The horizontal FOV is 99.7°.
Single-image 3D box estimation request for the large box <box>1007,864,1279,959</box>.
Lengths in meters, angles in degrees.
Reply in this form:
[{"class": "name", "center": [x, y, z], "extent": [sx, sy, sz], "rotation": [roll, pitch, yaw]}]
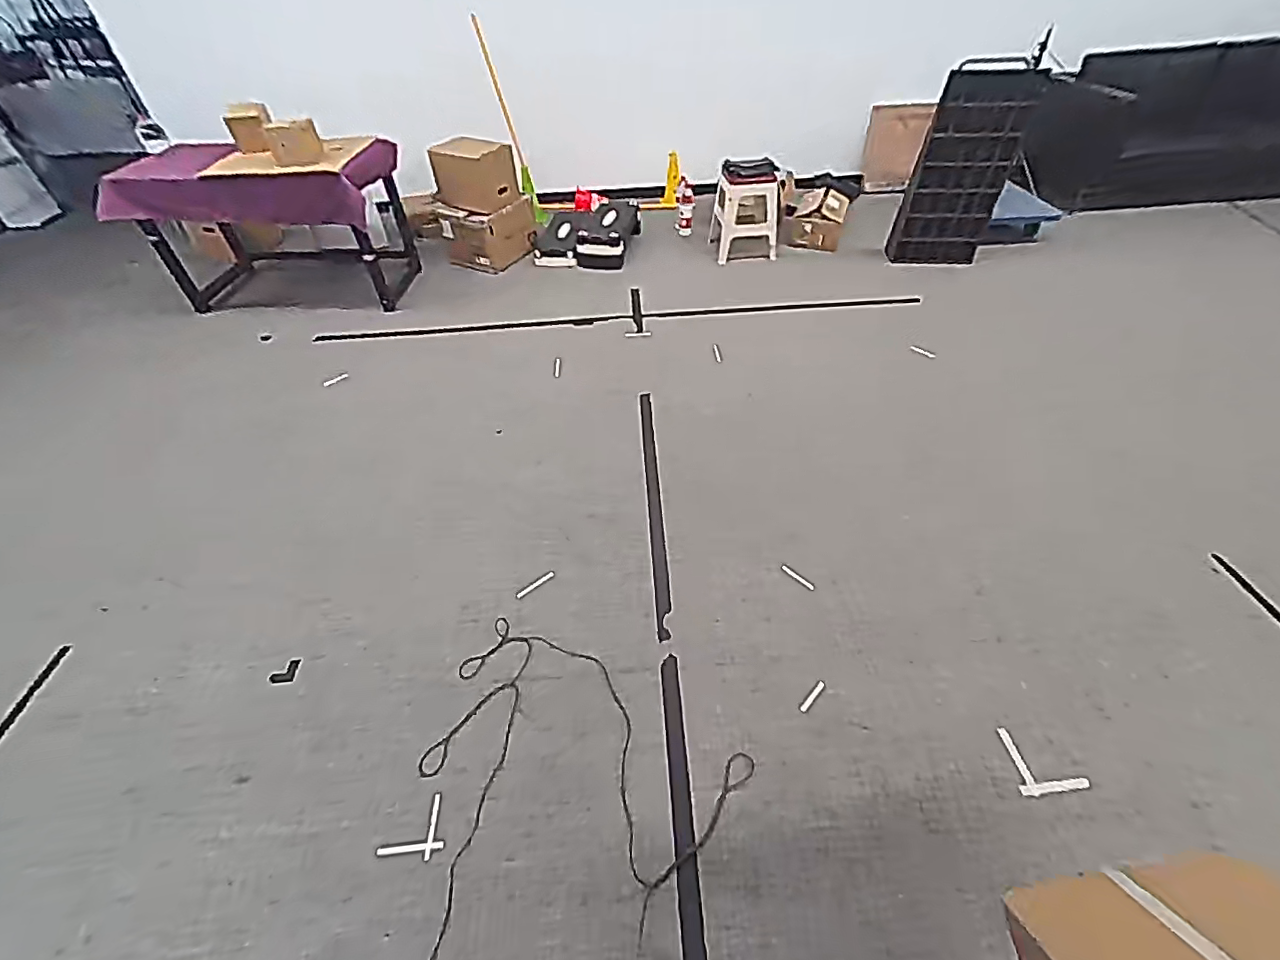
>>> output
[{"class": "large box", "center": [0.676, 0.685, 0.541], "extent": [0.320, 0.408, 0.320], "rotation": [-15, 83, 4]}]
